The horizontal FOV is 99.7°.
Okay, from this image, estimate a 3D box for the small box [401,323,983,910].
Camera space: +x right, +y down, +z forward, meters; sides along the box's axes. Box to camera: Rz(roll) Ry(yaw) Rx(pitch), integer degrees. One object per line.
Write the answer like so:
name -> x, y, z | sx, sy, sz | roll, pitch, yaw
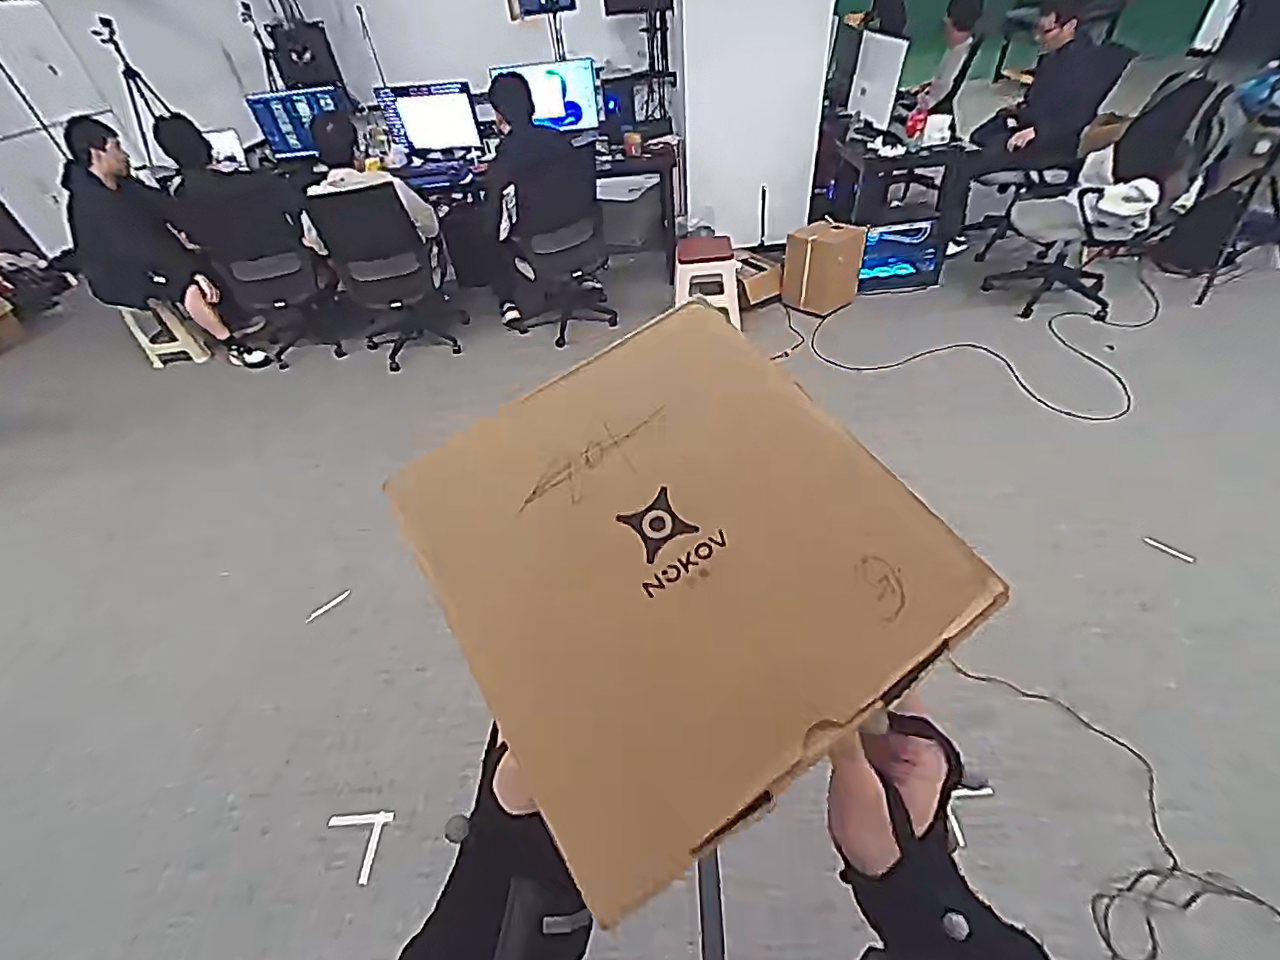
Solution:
small box -> 0.018, 0.062, 0.284 | 0.168, 0.176, 0.179 | -34, 64, -12
